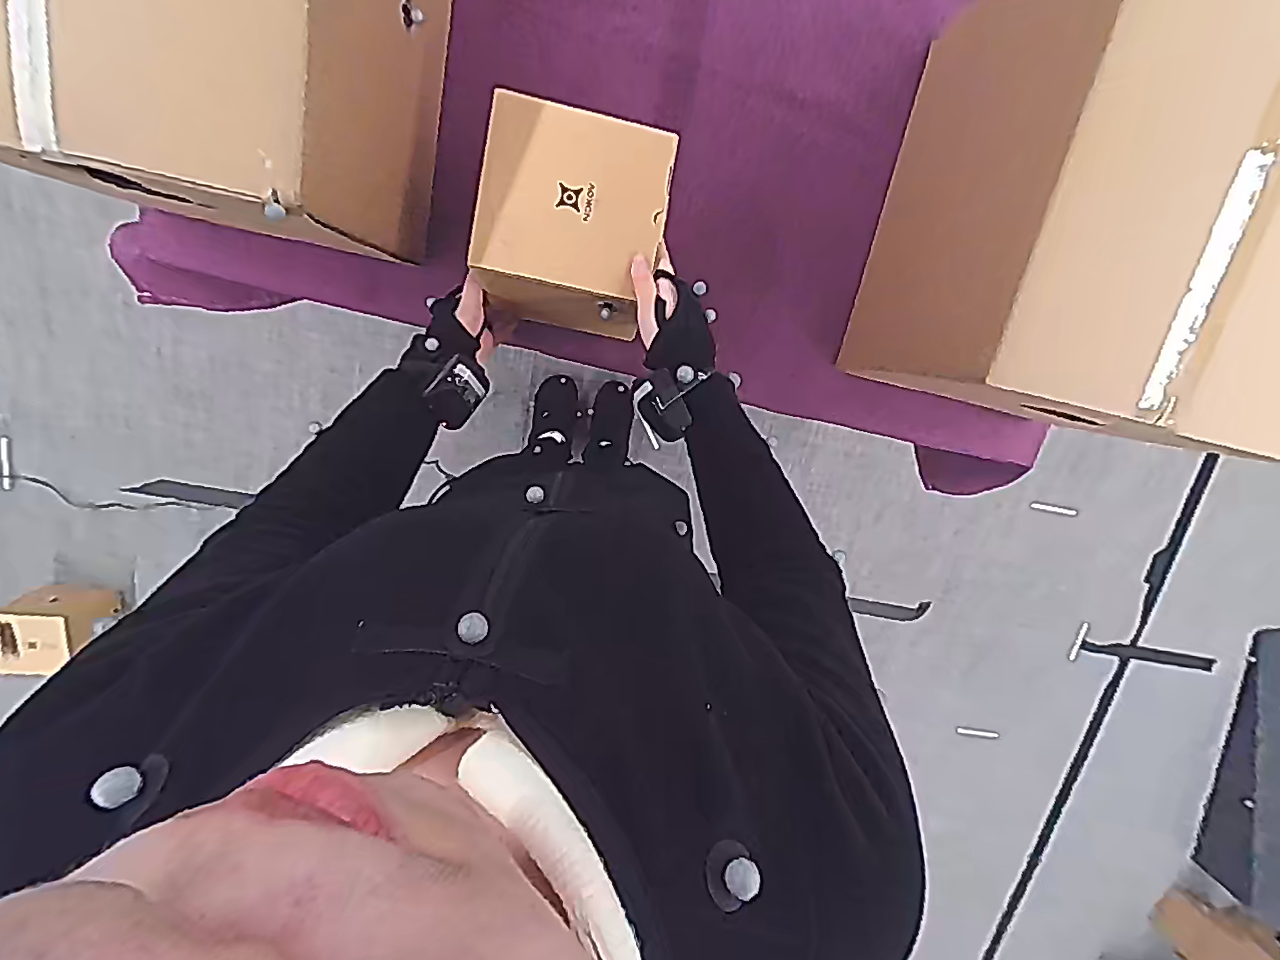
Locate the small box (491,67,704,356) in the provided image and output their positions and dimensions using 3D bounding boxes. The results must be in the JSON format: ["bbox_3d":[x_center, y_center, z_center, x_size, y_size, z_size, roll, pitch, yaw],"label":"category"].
[{"bbox_3d":[-0.047,-0.254,0.548,0.168,0.176,0.179,9,73,-26],"label":"small box"}]
